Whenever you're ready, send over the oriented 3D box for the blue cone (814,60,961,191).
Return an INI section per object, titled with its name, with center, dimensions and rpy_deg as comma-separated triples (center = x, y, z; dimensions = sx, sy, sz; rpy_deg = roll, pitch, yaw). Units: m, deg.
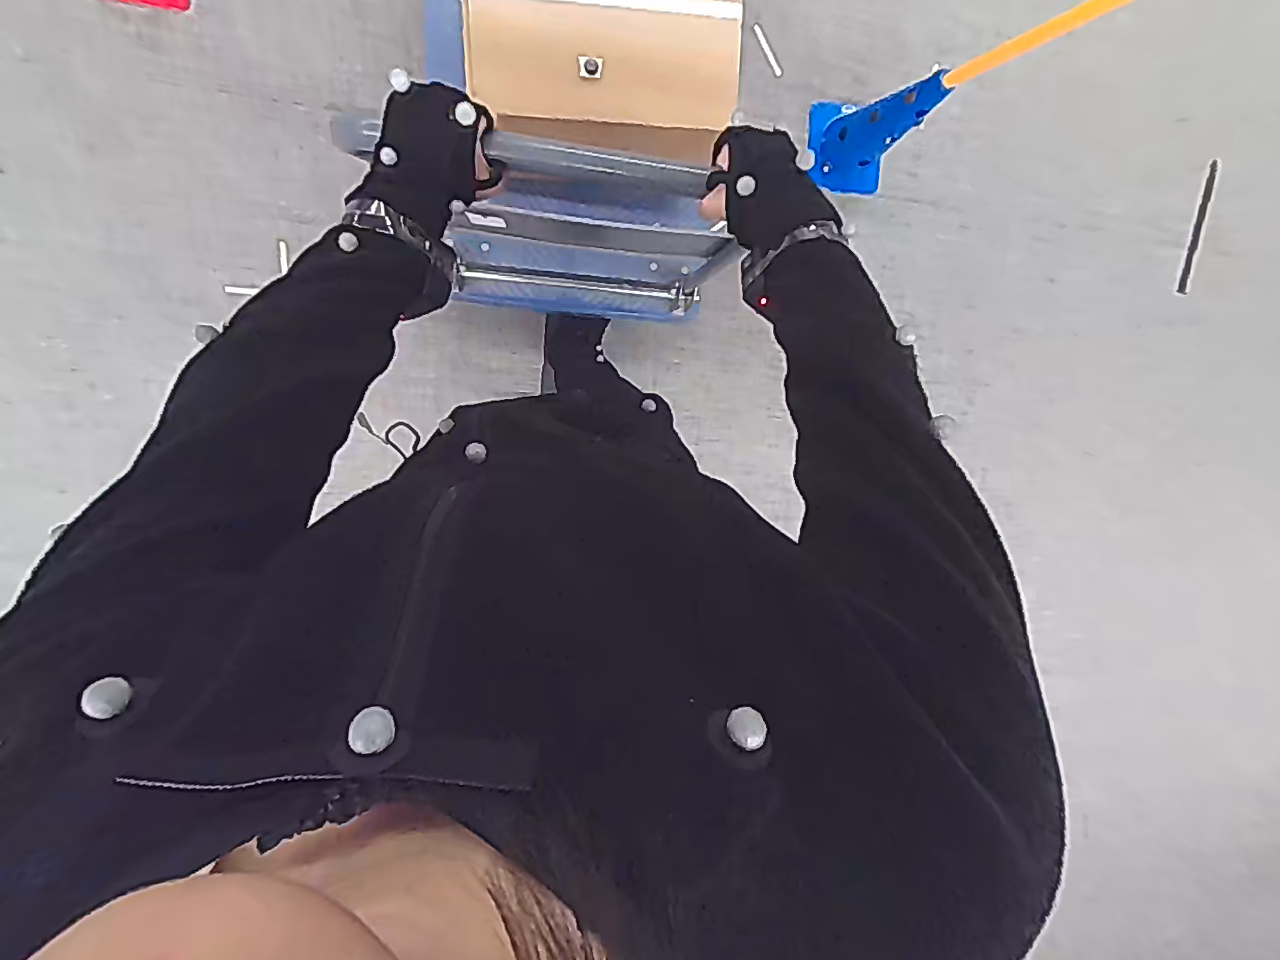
[blue cone]
center = 0.553, -0.797, 1.194
dimensions = 0.193, 0.380, 0.192
rpy_deg = -1, 102, -11
